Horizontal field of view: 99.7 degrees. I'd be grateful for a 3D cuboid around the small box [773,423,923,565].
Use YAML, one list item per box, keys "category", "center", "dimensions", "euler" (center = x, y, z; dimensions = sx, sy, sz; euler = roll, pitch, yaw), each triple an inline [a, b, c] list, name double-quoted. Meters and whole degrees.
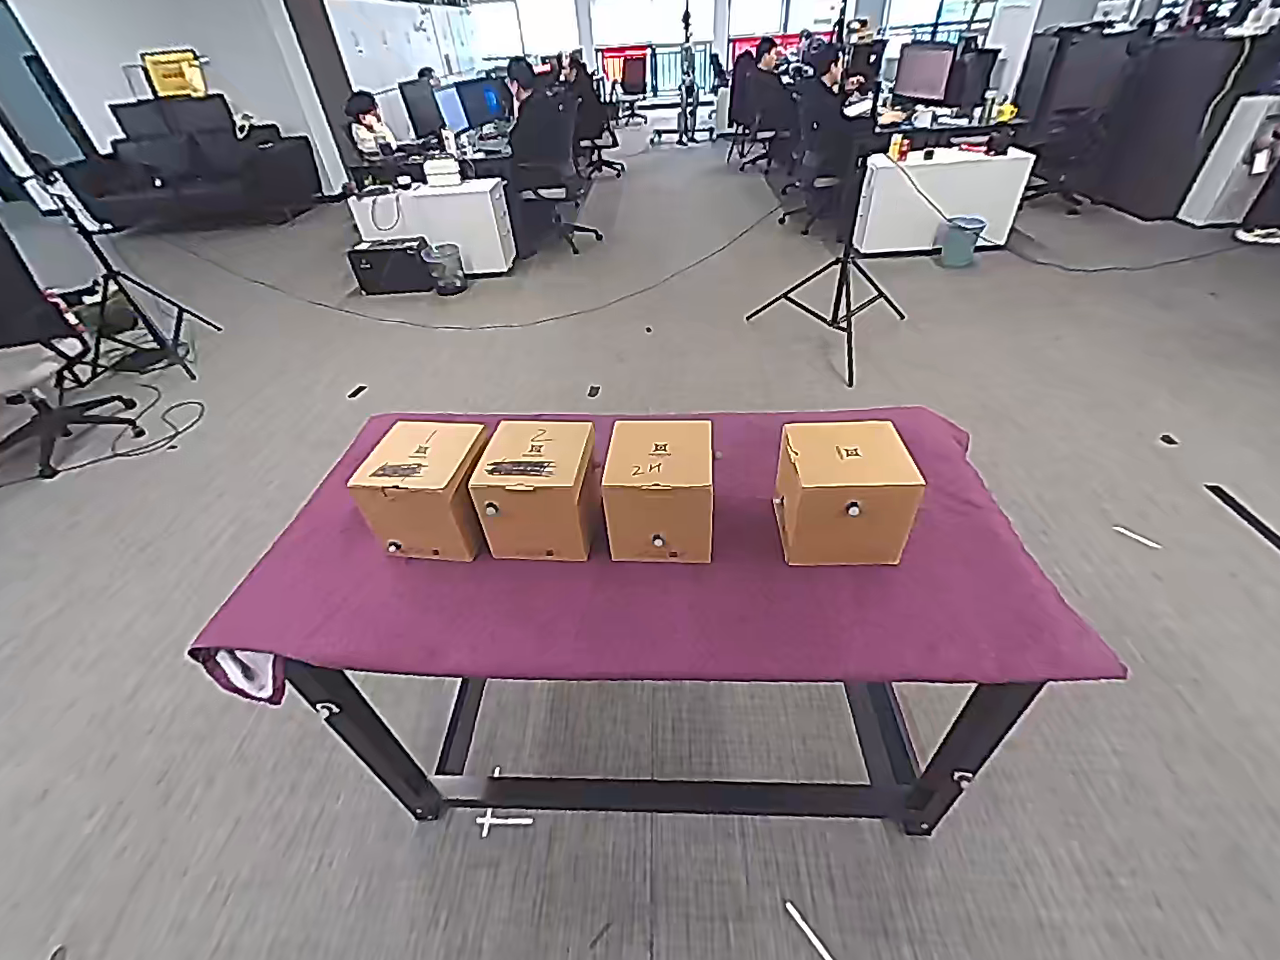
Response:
- category: "small box"
  center: [0.321, 0.024, 0.877]
  dimensions: [0.179, 0.176, 0.168]
  euler: [-2, 38, 4]
